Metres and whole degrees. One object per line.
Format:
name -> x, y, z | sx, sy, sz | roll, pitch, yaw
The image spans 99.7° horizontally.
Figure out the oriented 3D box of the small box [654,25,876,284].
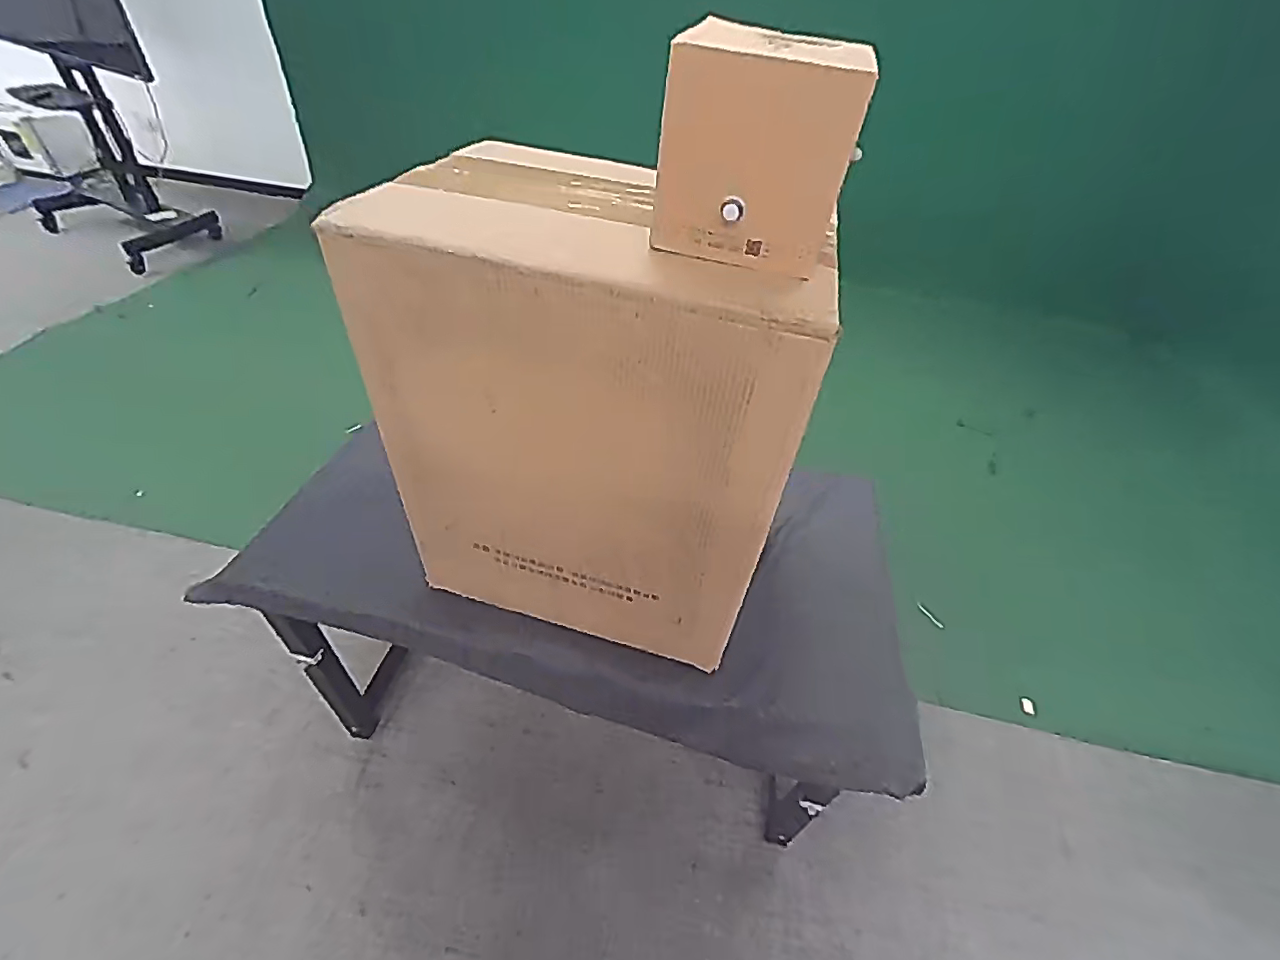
small box -> 0.117, -0.323, 0.538 | 0.168, 0.176, 0.179 | 15, 47, 7
